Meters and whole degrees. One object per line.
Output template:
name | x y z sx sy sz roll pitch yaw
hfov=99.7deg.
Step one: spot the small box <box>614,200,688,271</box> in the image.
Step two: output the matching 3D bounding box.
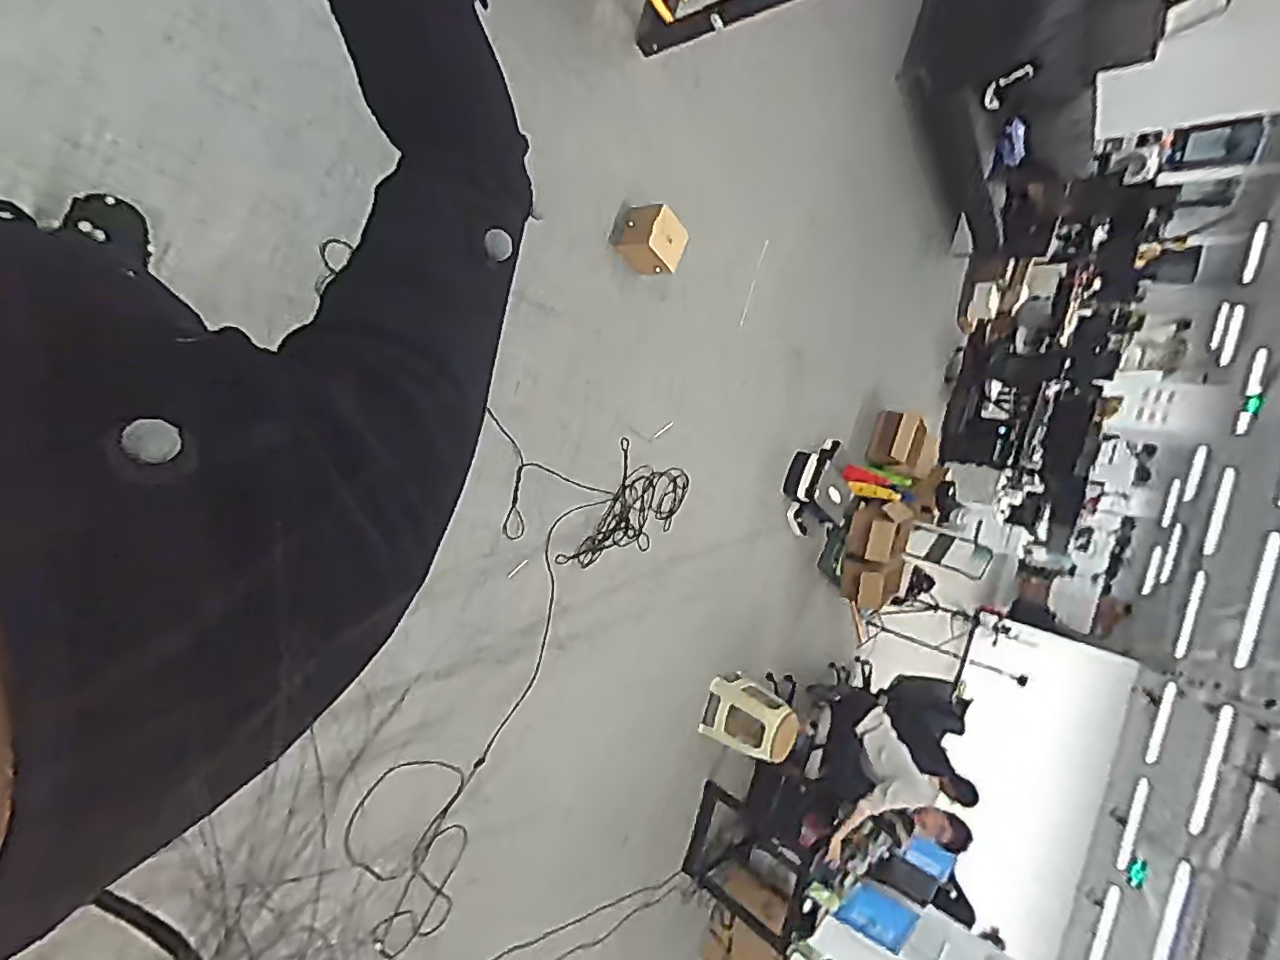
small box | 0.040 -0.884 1.967 0.179 0.176 0.168 29 80 -49
